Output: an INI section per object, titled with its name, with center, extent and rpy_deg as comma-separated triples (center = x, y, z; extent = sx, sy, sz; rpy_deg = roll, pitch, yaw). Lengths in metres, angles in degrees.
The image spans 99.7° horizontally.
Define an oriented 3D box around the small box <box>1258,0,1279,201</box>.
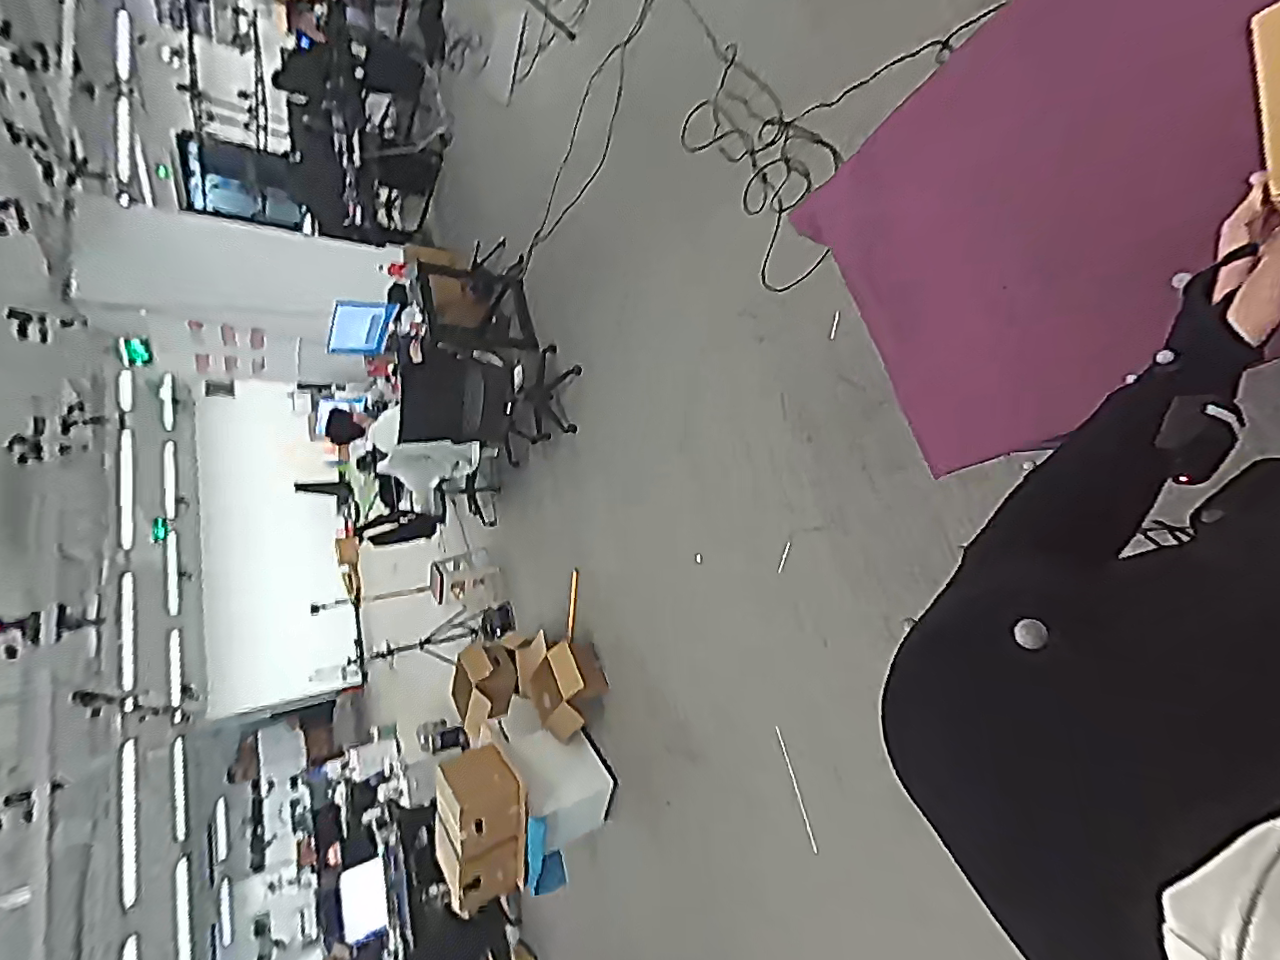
[small box]
center = 0.637, -0.315, 0.434
extent = 0.168, 0.176, 0.179
rpy_deg = -8, 79, 55
